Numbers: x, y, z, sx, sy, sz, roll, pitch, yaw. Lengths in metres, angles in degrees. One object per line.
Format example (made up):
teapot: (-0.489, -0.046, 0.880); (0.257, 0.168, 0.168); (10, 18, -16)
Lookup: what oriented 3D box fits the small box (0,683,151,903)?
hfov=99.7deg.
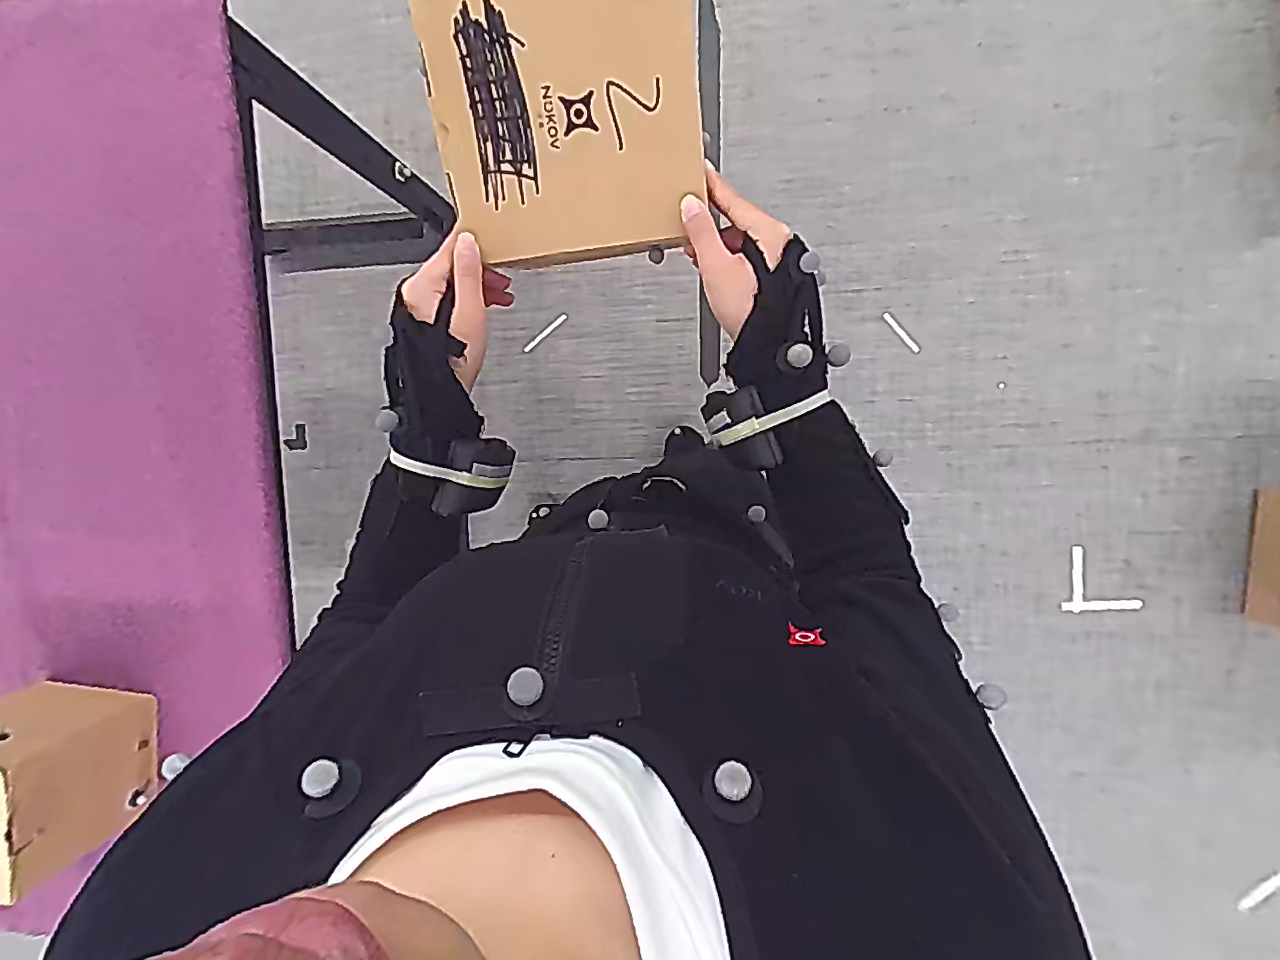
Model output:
small box: (-0.766, 0.374, 0.678); (0.179, 0.176, 0.168); (5, 95, 6)
